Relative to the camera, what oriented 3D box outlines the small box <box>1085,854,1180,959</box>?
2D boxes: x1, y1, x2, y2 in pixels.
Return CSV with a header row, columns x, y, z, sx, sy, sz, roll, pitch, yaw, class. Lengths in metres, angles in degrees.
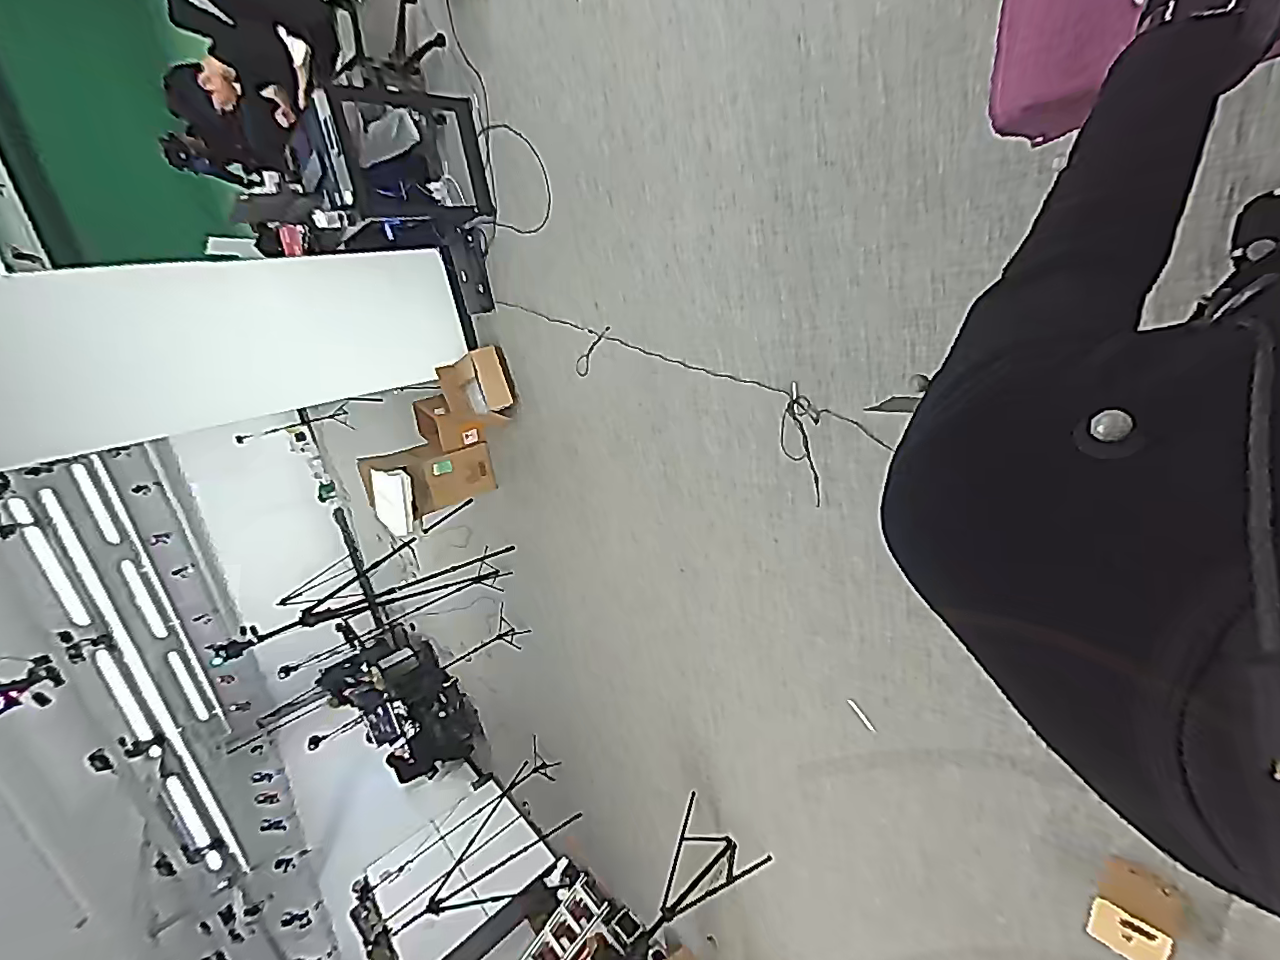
x,y,z,sx,sy,sz,roll,pitch,yaw,class
1.429,1.246,1.567,0.168,0.176,0.179,17,123,47,small box
